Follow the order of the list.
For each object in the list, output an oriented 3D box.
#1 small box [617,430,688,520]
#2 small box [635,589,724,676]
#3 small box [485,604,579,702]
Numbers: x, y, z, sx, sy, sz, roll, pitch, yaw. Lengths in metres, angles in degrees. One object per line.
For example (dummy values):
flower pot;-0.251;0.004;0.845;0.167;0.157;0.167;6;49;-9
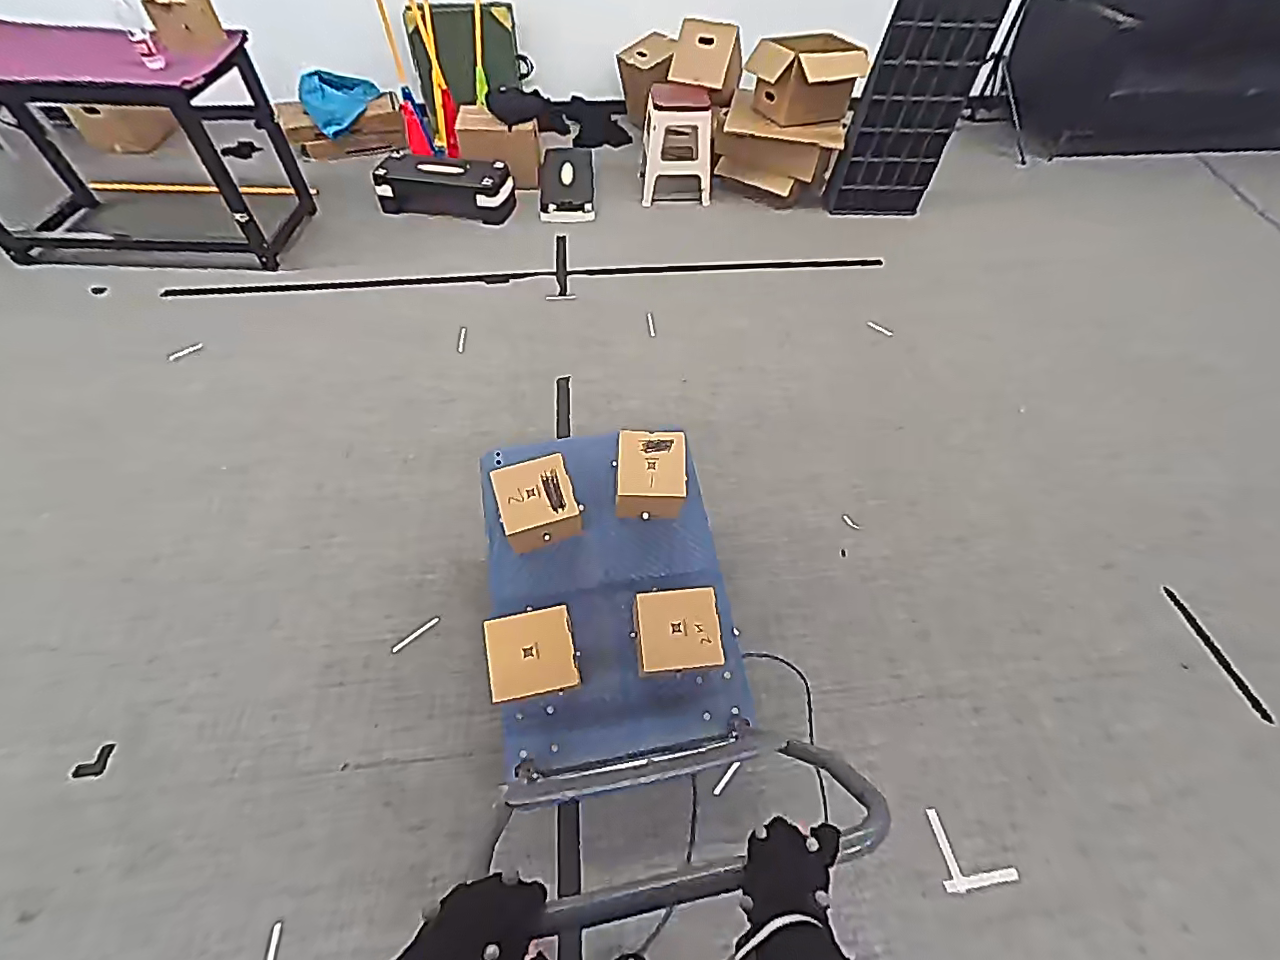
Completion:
small box;0.029;-0.010;1.382;0.168;0.176;0.179;3;68;-3
small box;0.081;0.351;1.232;0.179;0.176;0.168;-3;68;-6
small box;-0.233;0.386;1.192;0.179;0.176;0.168;-9;68;-10
